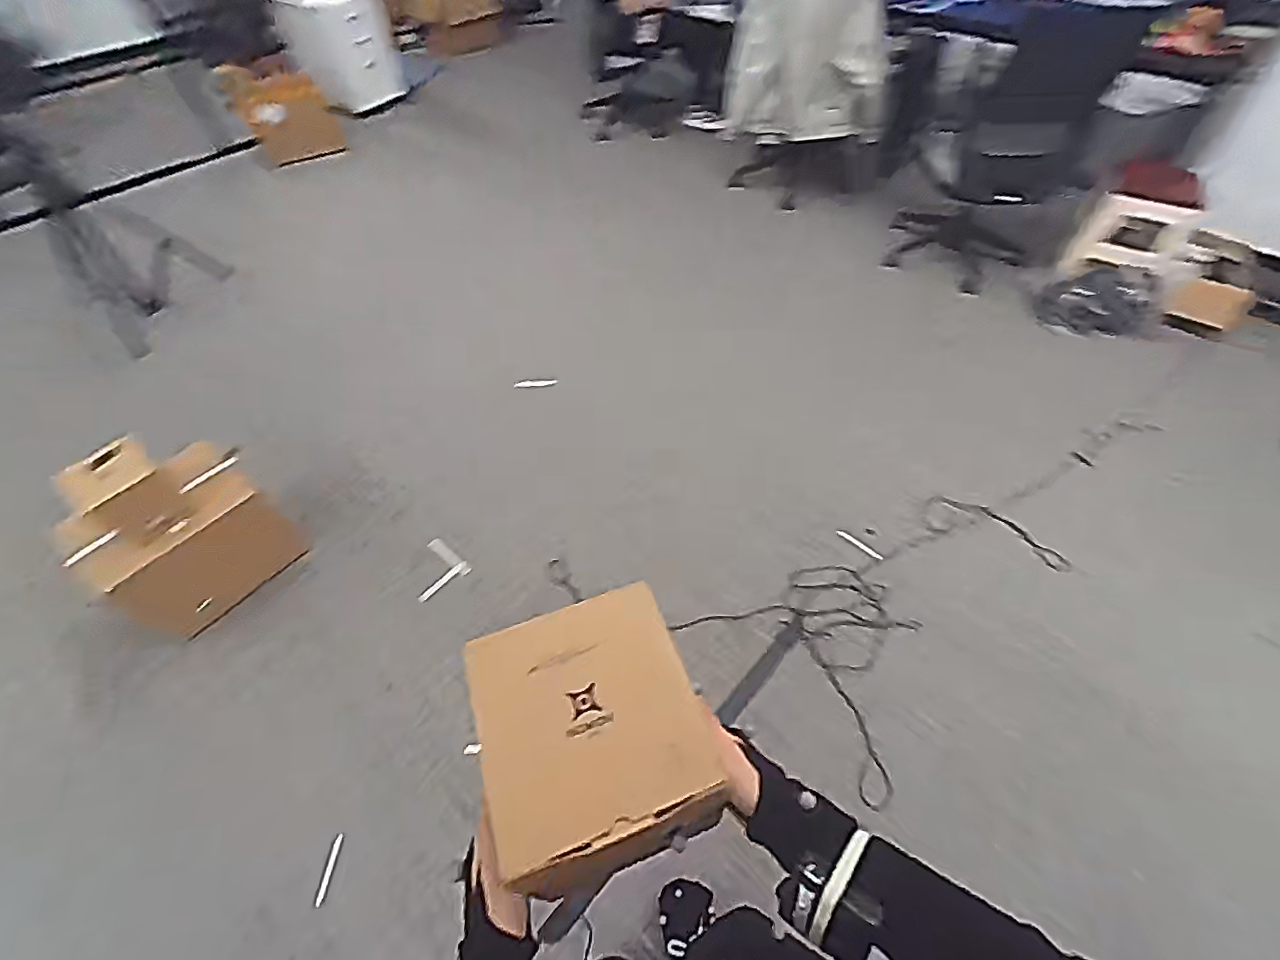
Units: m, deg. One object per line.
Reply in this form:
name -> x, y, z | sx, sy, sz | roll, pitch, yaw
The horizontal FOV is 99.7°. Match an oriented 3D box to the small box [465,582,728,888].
small box -> -0.037, 0.226, 0.474 | 0.168, 0.176, 0.179 | -18, 49, -12

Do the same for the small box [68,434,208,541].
small box -> -1.257, 0.022, 1.364 | 0.179, 0.176, 0.168 | 34, 61, 22
